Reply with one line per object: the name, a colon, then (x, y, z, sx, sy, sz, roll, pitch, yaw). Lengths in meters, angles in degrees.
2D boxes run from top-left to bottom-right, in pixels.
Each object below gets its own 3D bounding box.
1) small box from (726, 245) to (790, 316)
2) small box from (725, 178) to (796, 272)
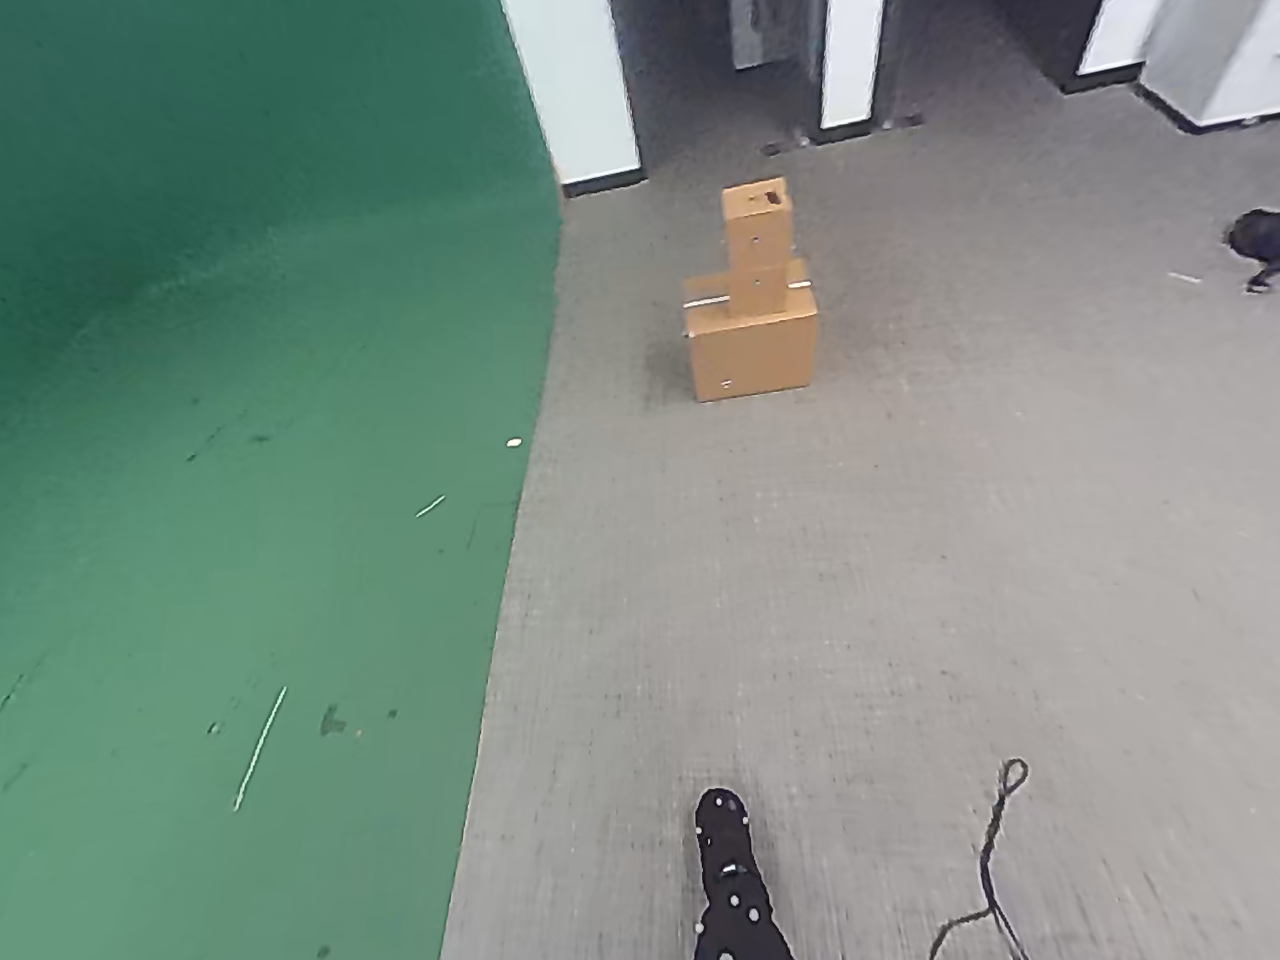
small box: (0.366, -0.630, 1.681, 0.179, 0.176, 0.168, -5, 55, 9)
small box: (0.340, -0.726, 1.549, 0.179, 0.176, 0.168, -7, 55, 9)
